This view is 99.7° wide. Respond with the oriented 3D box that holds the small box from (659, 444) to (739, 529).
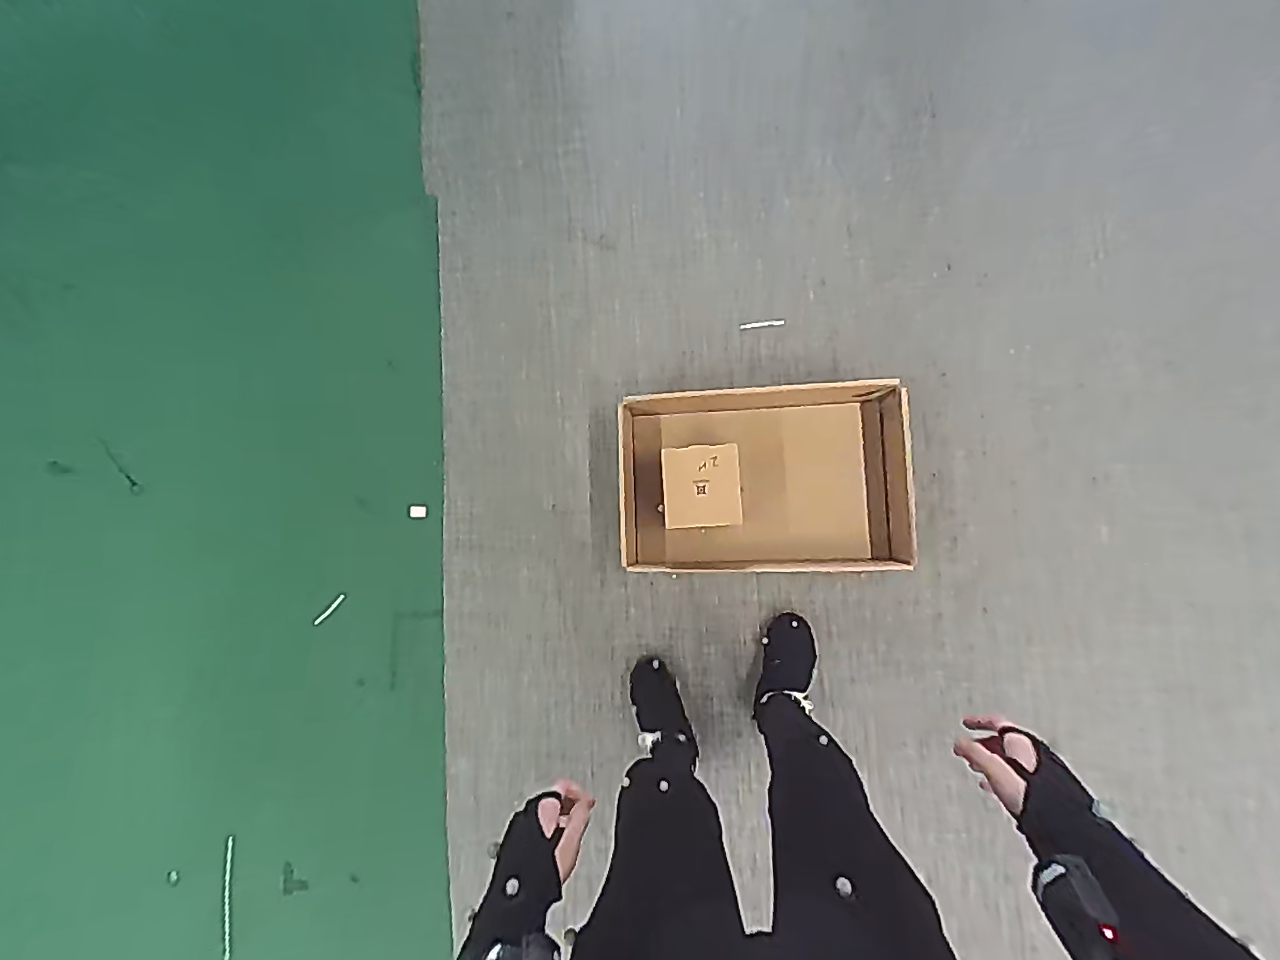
[{"bbox_3d":[0.137,0.020,1.224,0.168,0.176,0.179,-3,85,8],"label":"small box"}]
